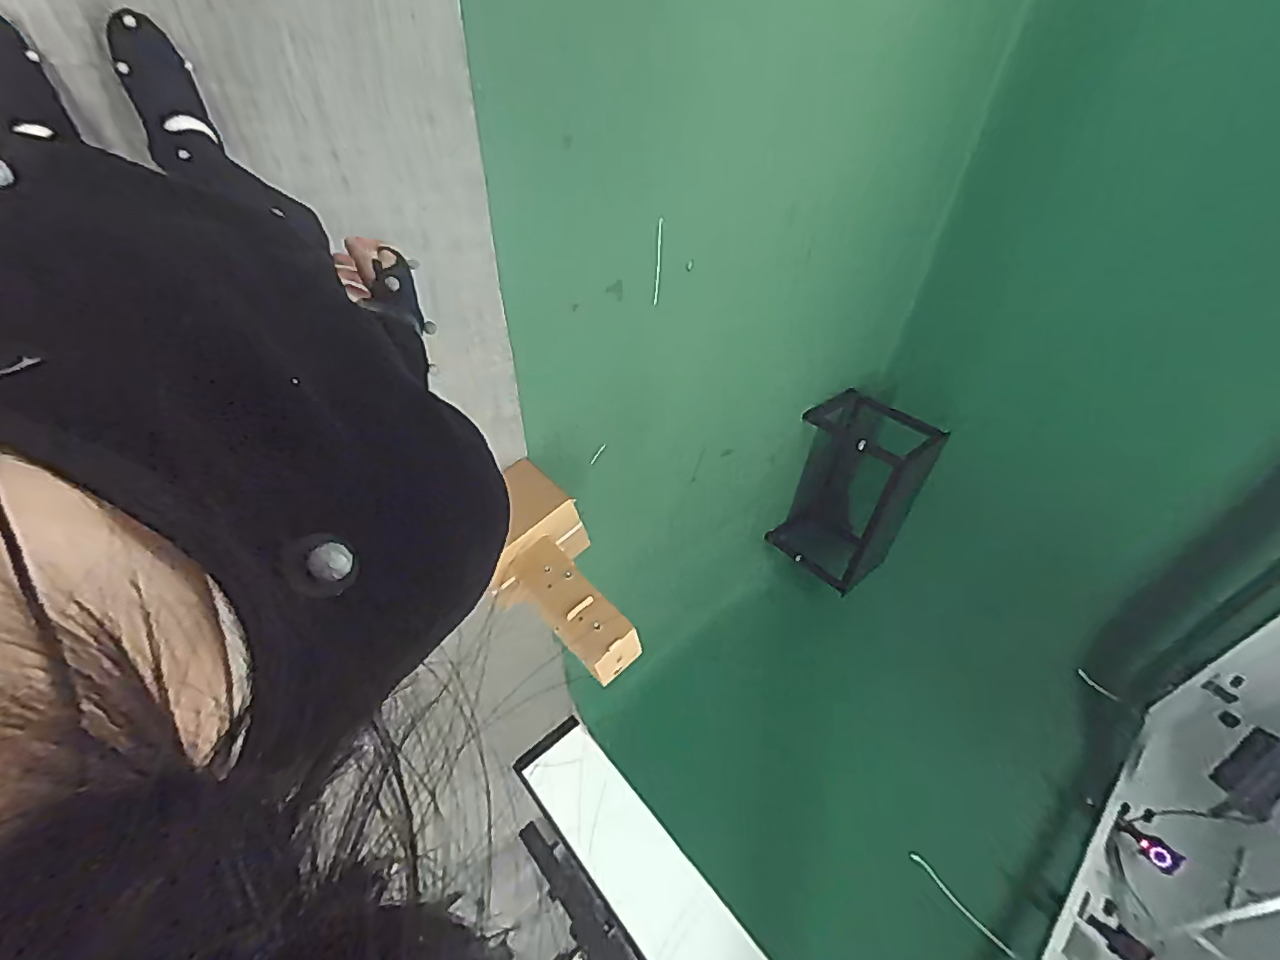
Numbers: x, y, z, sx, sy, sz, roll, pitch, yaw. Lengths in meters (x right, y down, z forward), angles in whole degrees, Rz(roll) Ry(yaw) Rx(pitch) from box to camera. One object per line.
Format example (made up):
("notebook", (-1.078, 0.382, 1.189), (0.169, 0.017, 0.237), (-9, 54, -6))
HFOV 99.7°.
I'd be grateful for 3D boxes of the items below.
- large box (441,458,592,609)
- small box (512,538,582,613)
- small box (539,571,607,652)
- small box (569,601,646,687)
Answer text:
("large box", (-0.456, 0.196, 2.043), (0.408, 0.320, 0.320), (-40, 145, -20))
("small box", (-0.316, 0.338, 1.898), (0.179, 0.176, 0.168), (-36, 142, -22))
("small box", (-0.216, 0.429, 1.806), (0.168, 0.176, 0.179), (-35, 142, -23))
("small box", (-0.105, 0.512, 1.717), (0.168, 0.176, 0.179), (-36, 141, -22))
